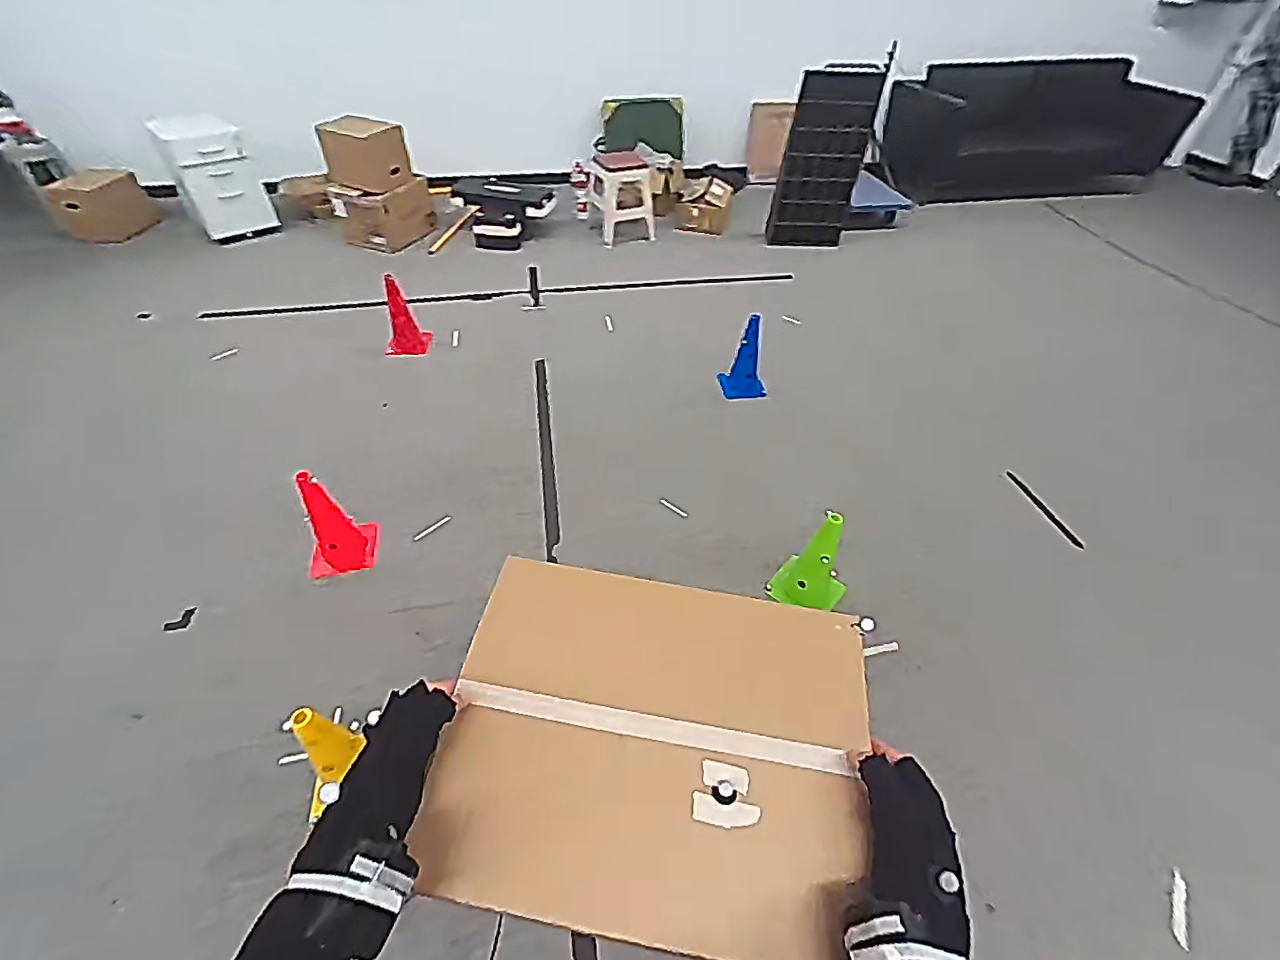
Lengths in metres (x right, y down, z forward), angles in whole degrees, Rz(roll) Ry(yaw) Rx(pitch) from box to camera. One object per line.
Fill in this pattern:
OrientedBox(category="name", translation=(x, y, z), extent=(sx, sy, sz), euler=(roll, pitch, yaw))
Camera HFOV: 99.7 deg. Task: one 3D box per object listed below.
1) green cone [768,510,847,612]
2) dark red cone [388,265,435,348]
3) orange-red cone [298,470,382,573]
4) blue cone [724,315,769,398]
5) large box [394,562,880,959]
OrientedBox(category="green cone", translation=(0.551, 0.228, 1.634), extent=(0.200, 0.368, 0.202), euler=(34, 52, 27))
OrientedBox(category="dark red cone", translation=(-1.136, -0.830, 2.593), extent=(0.201, 0.394, 0.202), euler=(-1, 45, -5))
OrientedBox(category="orange-red cone", translation=(-0.980, 0.106, 1.704), extent=(0.198, 0.360, 0.199), euler=(-9, 48, -9))
OrientedBox(category="blue cone", translation=(0.506, -0.564, 2.441), extent=(0.192, 0.380, 0.193), euler=(-3, 46, -7))
OrientedBox(category="large box", translation=(0.006, 0.333, 0.637), extent=(0.408, 0.320, 0.320), euler=(9, 51, 4))
